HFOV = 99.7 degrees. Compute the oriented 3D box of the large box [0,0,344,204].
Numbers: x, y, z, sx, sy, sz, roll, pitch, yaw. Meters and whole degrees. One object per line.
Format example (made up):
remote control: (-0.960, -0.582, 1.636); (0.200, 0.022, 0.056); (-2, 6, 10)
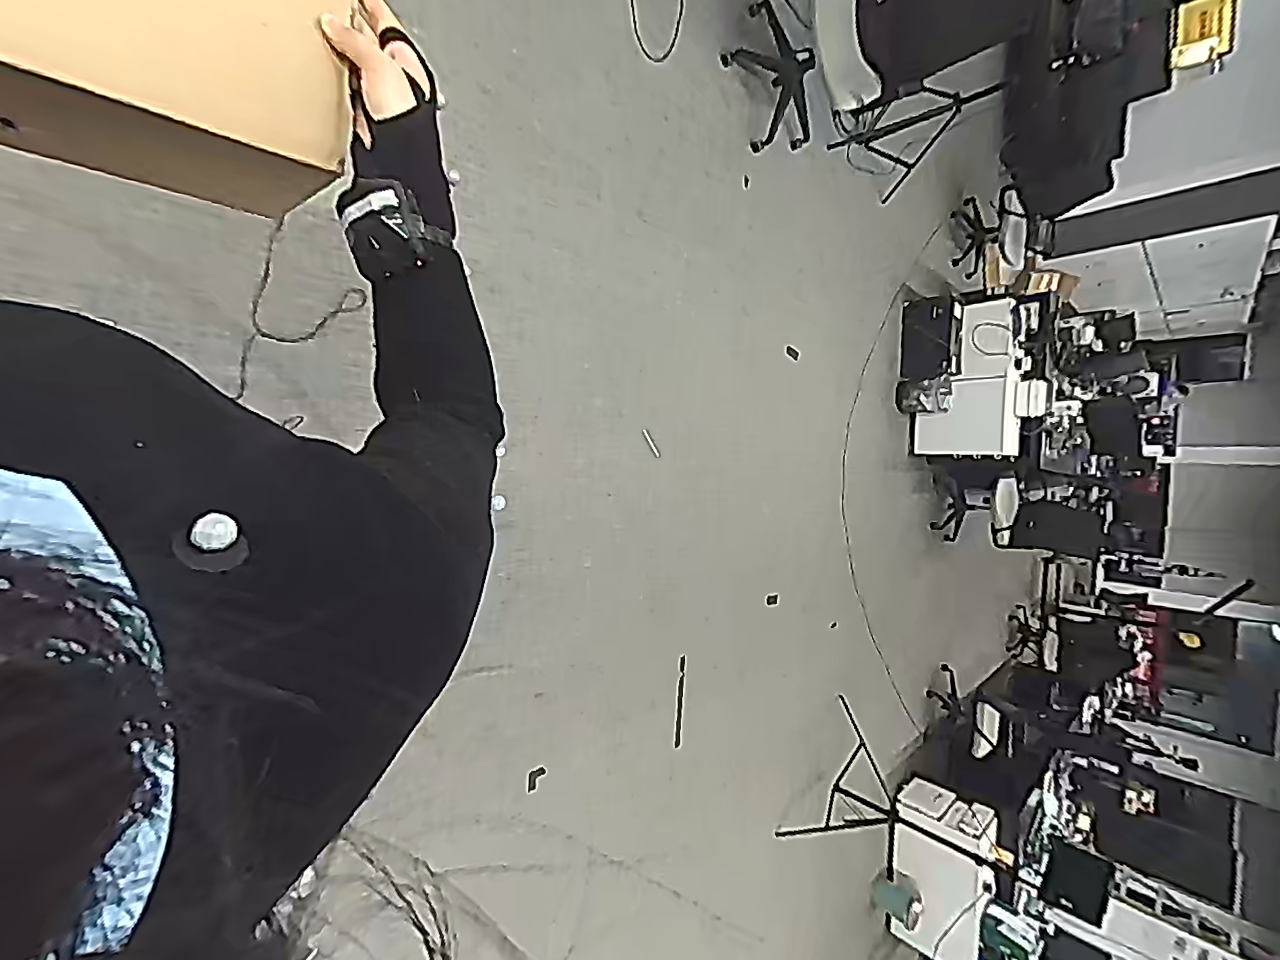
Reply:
large box: (-0.475, -0.441, 0.401); (0.408, 0.320, 0.320); (-1, 103, -42)
